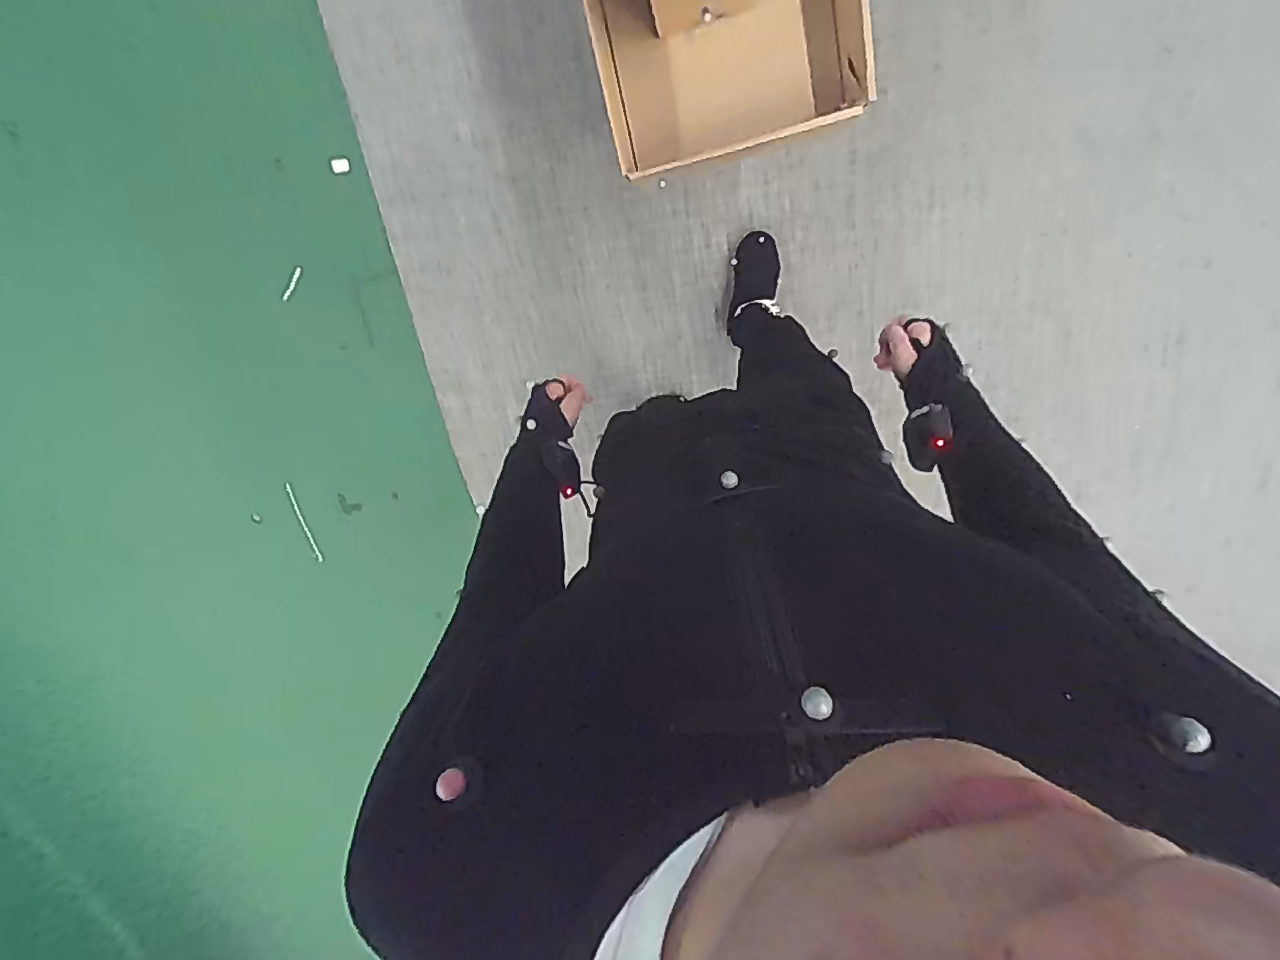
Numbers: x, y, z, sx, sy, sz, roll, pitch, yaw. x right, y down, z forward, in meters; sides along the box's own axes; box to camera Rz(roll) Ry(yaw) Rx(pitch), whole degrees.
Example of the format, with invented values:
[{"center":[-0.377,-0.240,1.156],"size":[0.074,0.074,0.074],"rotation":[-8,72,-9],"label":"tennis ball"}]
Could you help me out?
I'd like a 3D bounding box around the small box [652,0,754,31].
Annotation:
[{"center":[0.085,-0.812,0.788],"size":[0.168,0.176,0.179],"rotation":[-9,111,11],"label":"small box"}]
